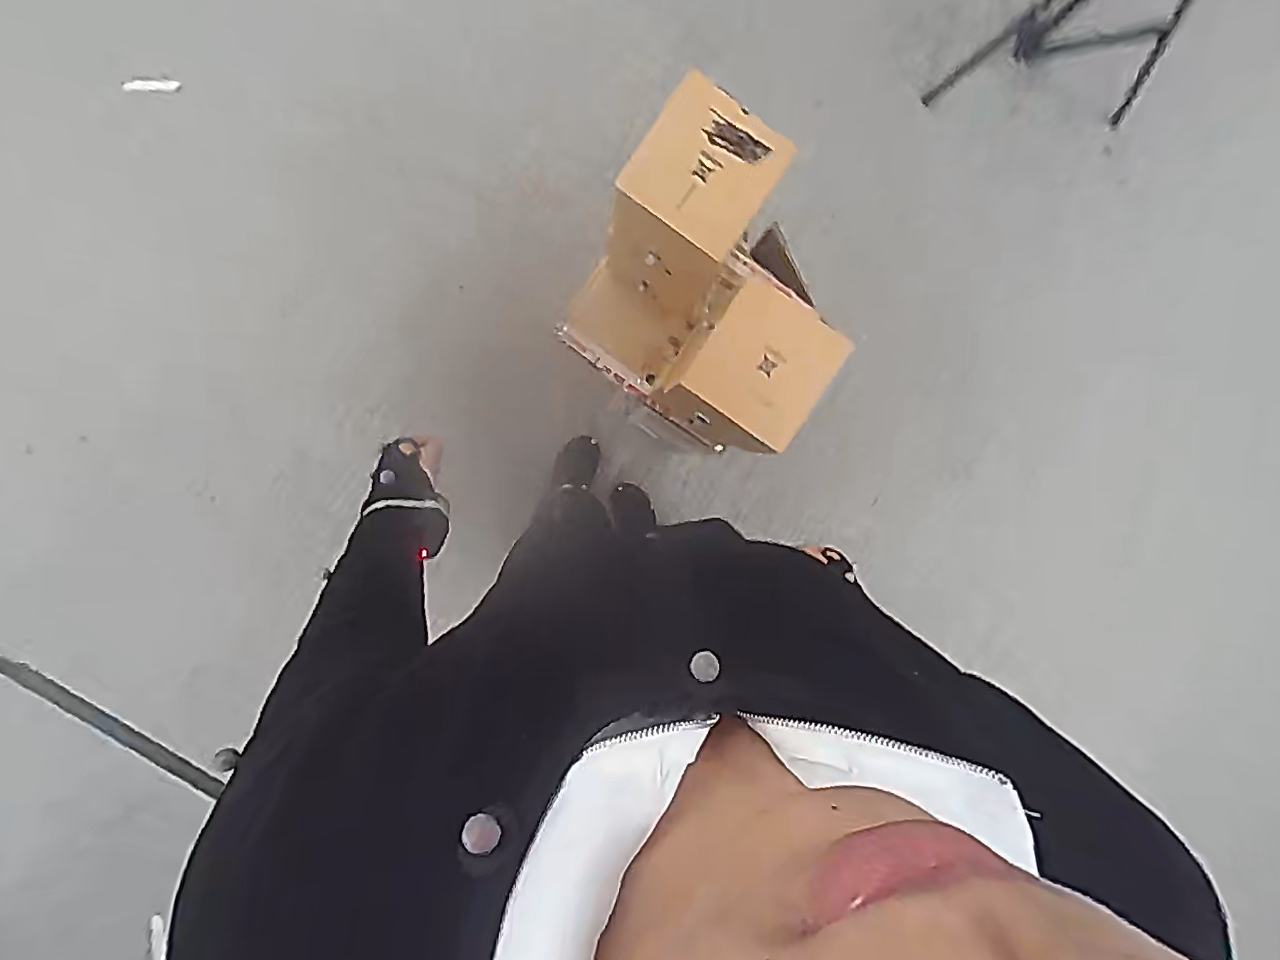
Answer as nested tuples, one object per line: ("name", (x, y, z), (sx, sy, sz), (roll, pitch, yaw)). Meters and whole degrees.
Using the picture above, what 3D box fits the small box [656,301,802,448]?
("small box", (0.140, -0.171, 0.932), (0.168, 0.176, 0.179), (35, 91, -6))

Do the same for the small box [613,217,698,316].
("small box", (0.064, -0.408, 0.912), (0.168, 0.176, 0.179), (32, 91, -4))

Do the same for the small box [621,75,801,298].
("small box", (0.084, -0.387, 0.749), (0.168, 0.176, 0.179), (35, 92, -4))
